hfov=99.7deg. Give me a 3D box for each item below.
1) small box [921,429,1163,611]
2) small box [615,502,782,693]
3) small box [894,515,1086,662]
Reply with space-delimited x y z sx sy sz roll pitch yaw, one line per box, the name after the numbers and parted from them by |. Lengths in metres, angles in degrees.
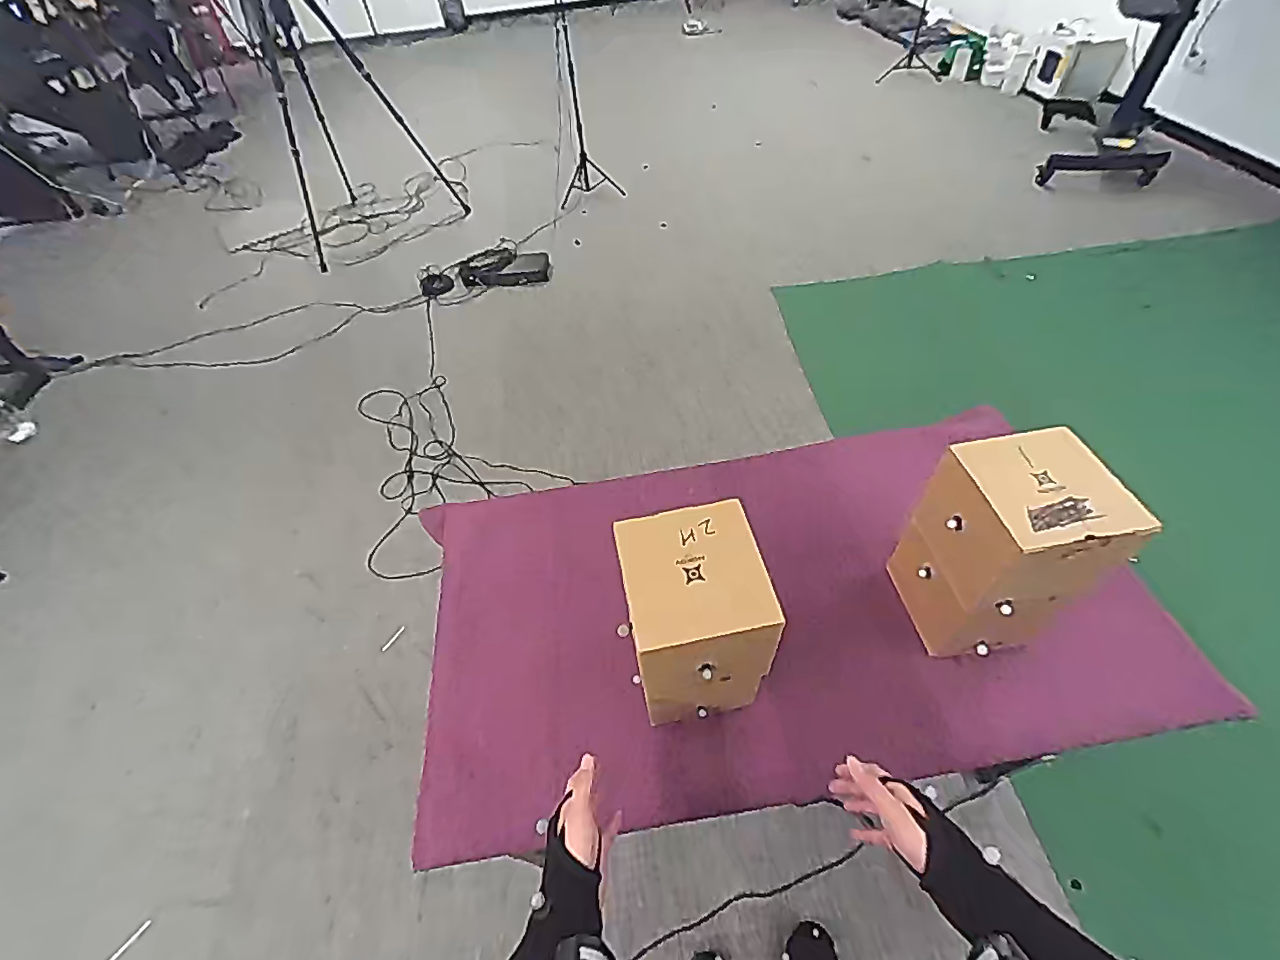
0.512 0.061 0.724 0.168 0.176 0.179 -9 48 0 | small box
0.068 0.157 0.690 0.168 0.176 0.179 -10 51 -3 | small box
0.528 0.163 0.851 0.168 0.176 0.179 -8 50 1 | small box
